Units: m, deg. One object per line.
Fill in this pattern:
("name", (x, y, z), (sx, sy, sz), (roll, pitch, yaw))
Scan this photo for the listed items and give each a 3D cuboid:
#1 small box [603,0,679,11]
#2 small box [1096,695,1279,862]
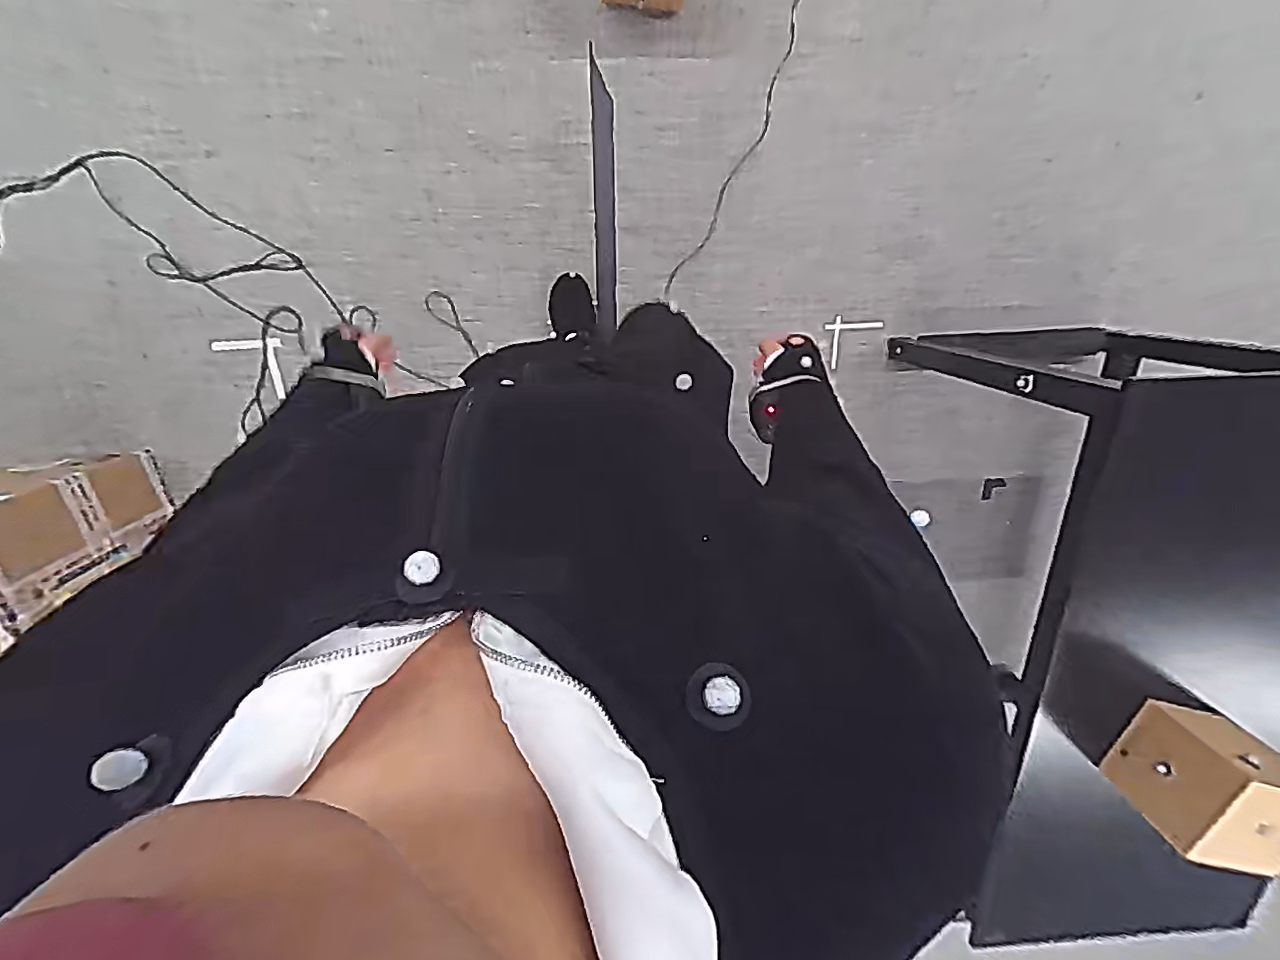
("small box", (0.010, -1.068, 1.066), (0.179, 0.176, 0.168), (4, 110, -5))
("small box", (0.937, 0.490, 0.906), (0.179, 0.176, 0.168), (15, 109, -9))
